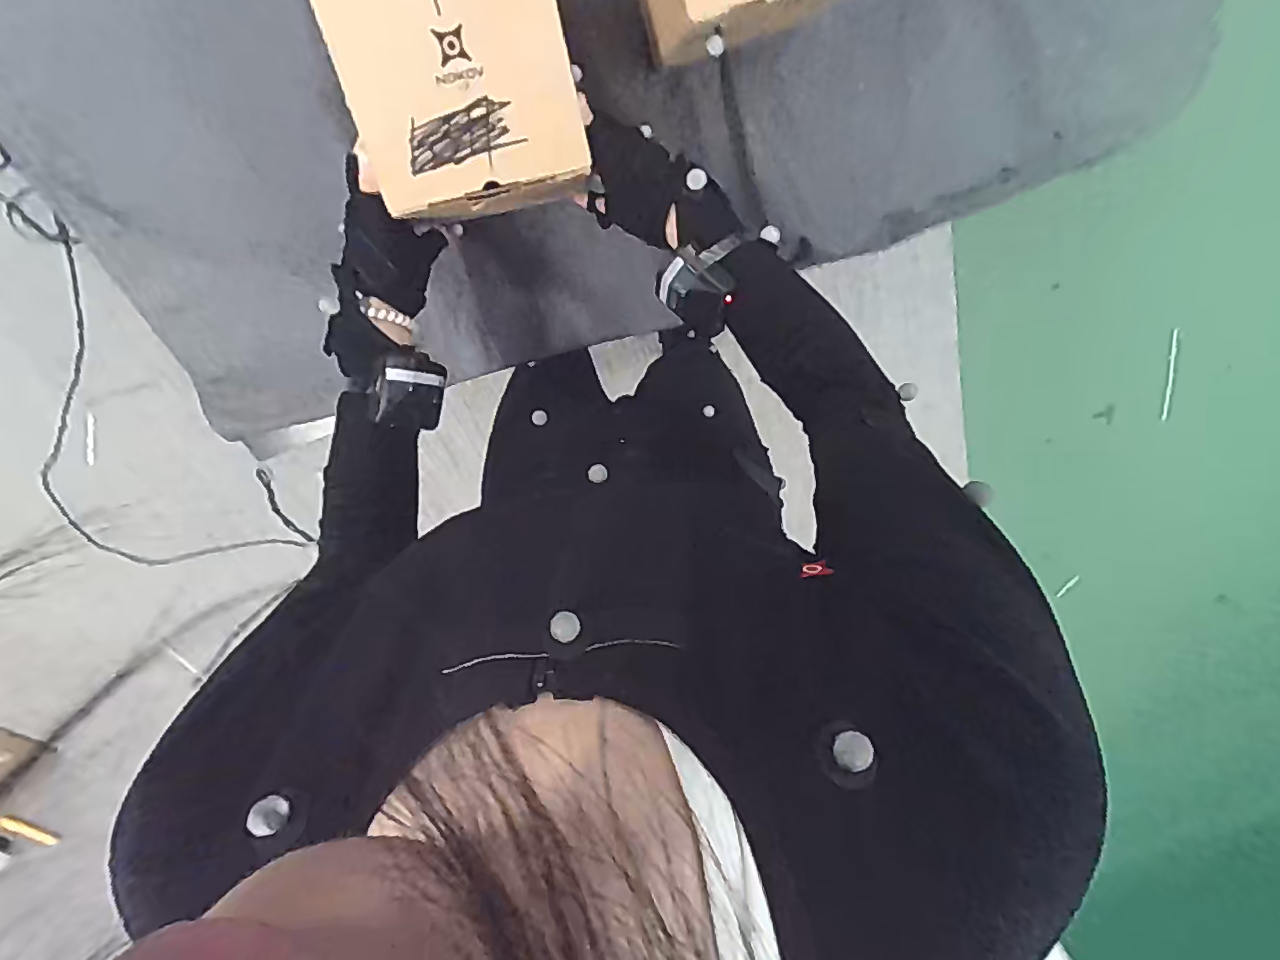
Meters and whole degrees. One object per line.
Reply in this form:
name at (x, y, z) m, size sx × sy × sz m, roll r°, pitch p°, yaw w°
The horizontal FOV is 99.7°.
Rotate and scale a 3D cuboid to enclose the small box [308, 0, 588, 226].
small box at (-0.148, -0.327, 0.465) m, size 0.168 × 0.176 × 0.179 m, roll -15°, pitch 113°, yaw -4°
